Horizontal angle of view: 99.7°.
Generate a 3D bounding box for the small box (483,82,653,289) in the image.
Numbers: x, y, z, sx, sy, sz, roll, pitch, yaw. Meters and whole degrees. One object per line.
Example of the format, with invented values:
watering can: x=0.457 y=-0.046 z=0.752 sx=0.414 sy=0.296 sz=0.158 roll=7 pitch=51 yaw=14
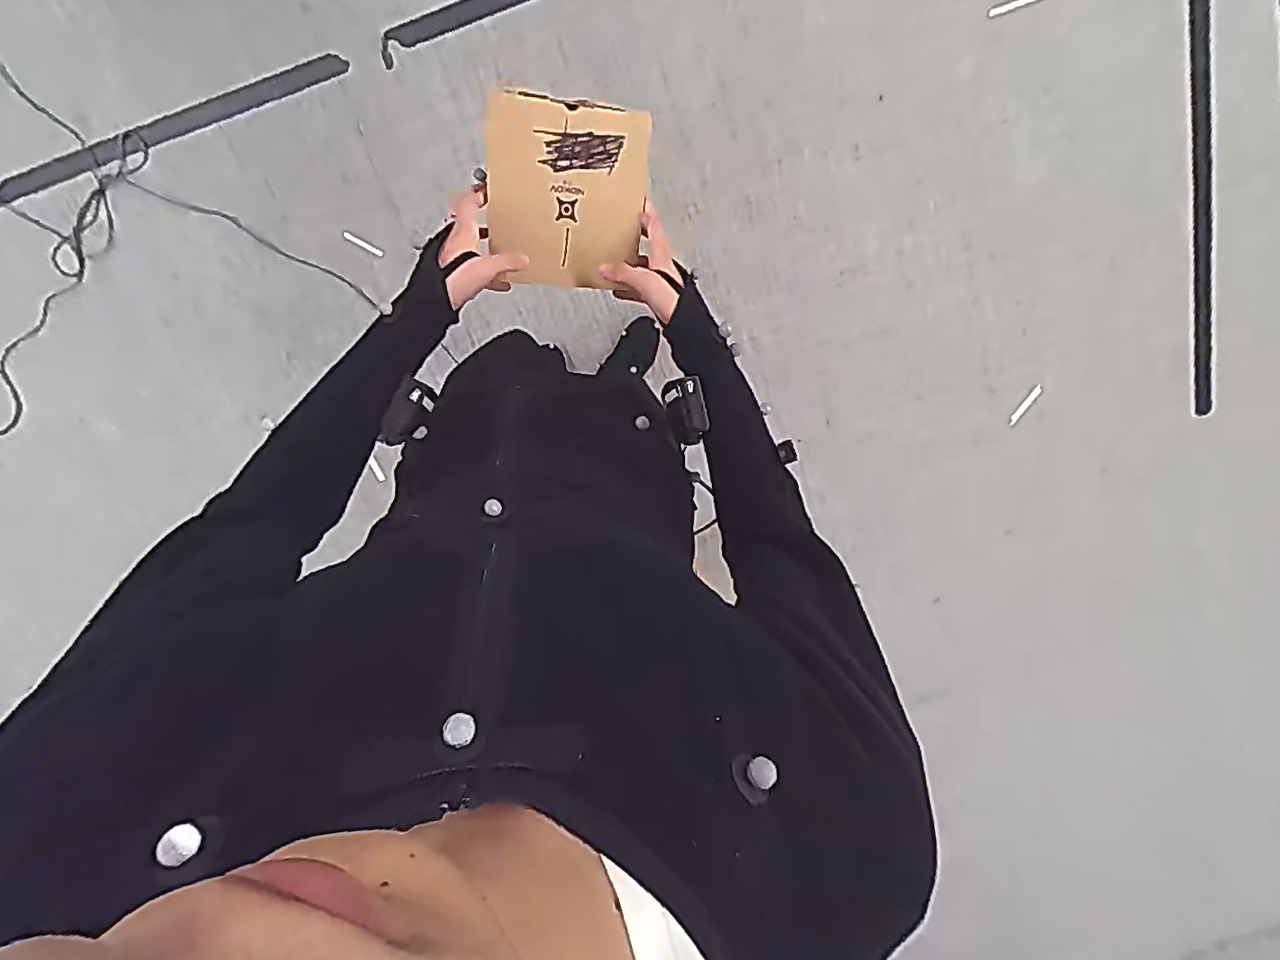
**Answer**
small box: x=-0.093 y=-0.332 z=0.621 sx=0.168 sy=0.176 sz=0.179 roll=-2 pitch=122 yaw=-15
